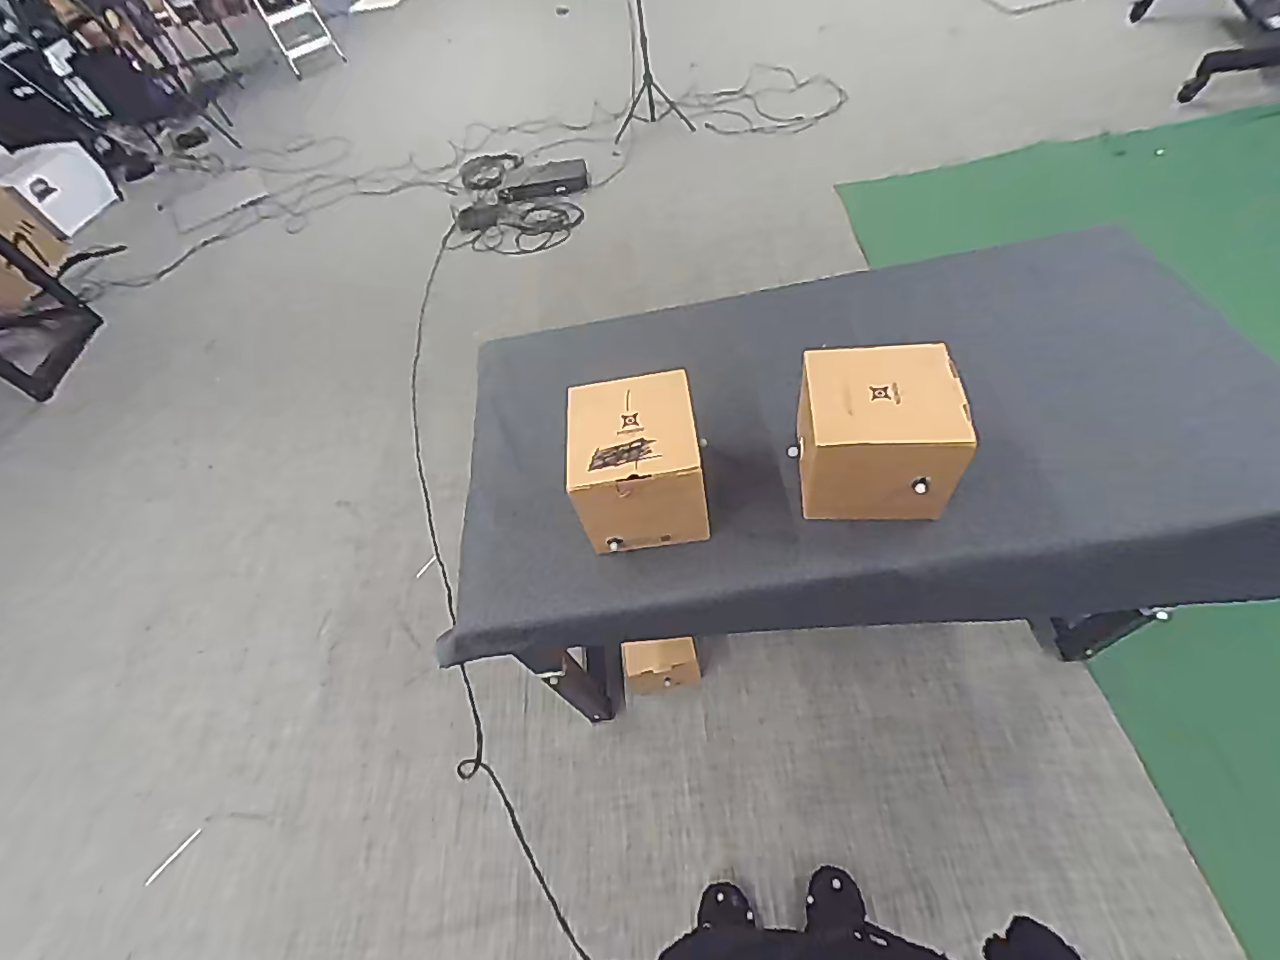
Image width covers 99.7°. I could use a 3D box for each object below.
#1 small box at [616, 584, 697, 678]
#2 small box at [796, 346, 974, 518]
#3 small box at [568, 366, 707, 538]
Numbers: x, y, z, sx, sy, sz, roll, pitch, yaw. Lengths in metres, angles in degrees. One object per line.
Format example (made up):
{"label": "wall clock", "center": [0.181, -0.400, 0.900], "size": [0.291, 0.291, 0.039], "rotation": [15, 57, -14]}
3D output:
{"label": "small box", "center": [0.045, 0.388, 1.363], "size": [0.168, 0.176, 0.179], "rotation": [-12, 56, 1]}
{"label": "small box", "center": [0.311, -0.059, 0.729], "size": [0.179, 0.176, 0.168], "rotation": [-1, 55, 11]}
{"label": "small box", "center": [0.002, -0.030, 0.760], "size": [0.168, 0.176, 0.179], "rotation": [-7, 54, 5]}
